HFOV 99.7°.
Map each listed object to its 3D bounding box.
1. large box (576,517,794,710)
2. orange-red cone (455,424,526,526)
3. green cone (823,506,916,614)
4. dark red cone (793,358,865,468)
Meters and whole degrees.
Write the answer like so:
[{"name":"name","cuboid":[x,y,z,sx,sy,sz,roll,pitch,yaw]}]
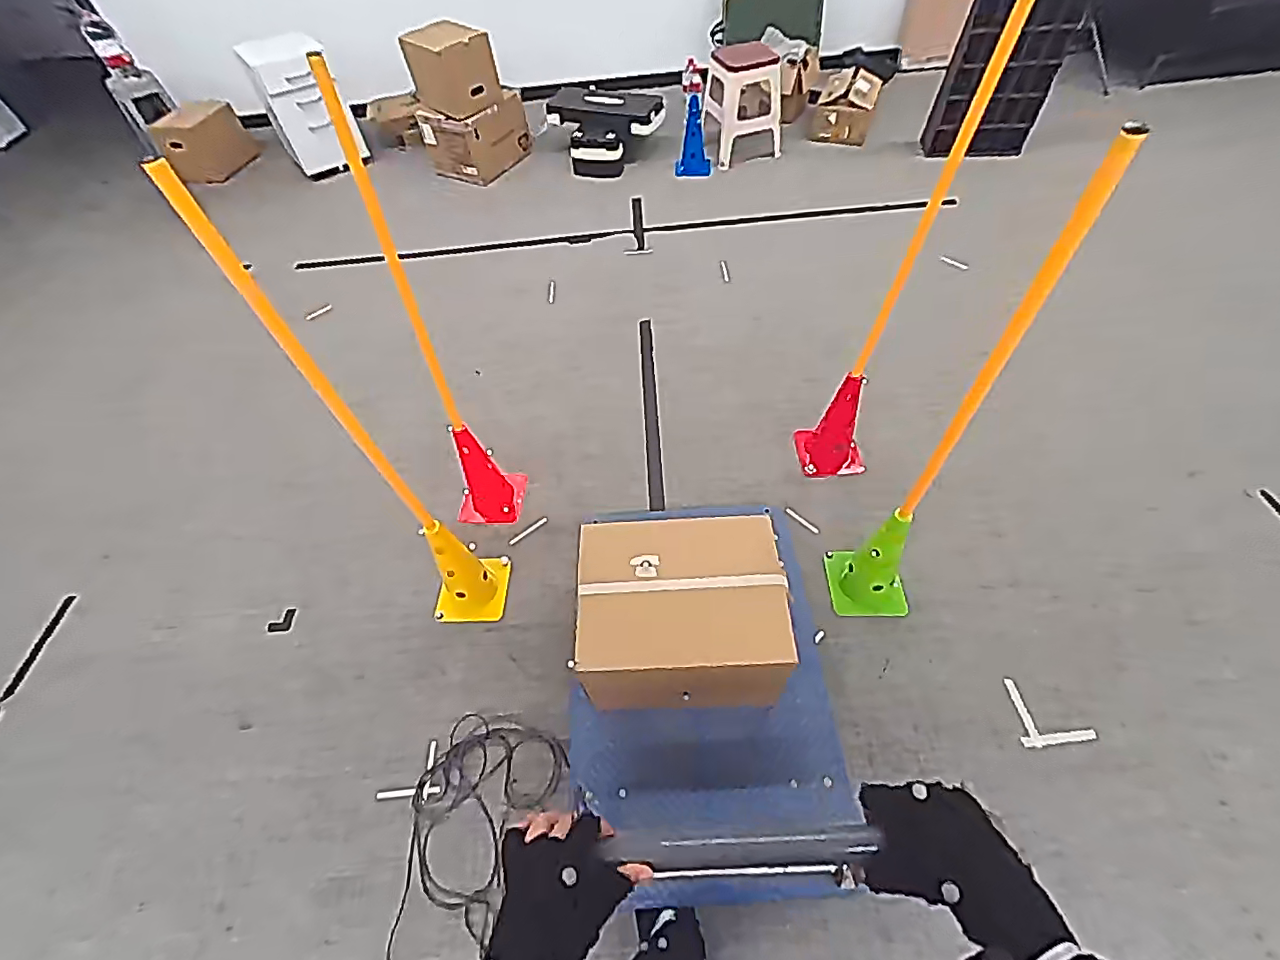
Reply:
[{"name":"large box","cuboid":[0.089,0.302,1.185,0.408,0.320,0.320,-4,54,3]},{"name":"orange-red cone","cuboid":[-0.499,-0.040,1.669,0.198,0.360,0.199,2,52,5]},{"name":"green cone","cuboid":[0.627,0.186,1.403,0.202,0.368,0.200,-1,53,3]},{"name":"dark red cone","cuboid":[0.622,-0.214,1.679,0.201,0.394,0.202,-4,54,0]}]
